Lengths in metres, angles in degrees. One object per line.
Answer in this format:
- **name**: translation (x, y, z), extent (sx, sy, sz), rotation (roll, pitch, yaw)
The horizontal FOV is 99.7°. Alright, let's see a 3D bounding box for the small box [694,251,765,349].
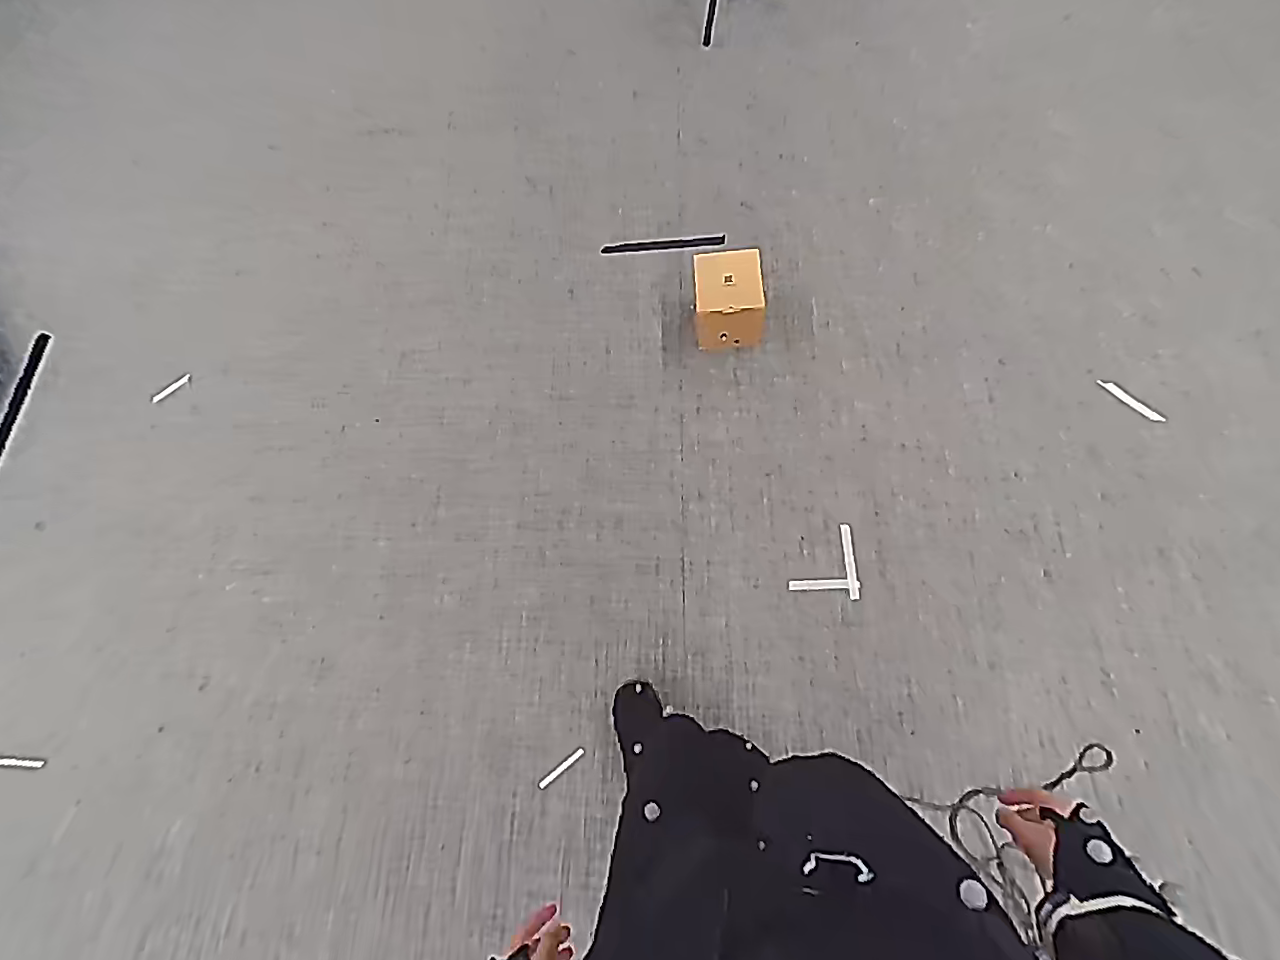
- **small box**: translation (0.228, -0.464, 1.412), extent (0.168, 0.176, 0.179), rotation (-4, 73, 5)
